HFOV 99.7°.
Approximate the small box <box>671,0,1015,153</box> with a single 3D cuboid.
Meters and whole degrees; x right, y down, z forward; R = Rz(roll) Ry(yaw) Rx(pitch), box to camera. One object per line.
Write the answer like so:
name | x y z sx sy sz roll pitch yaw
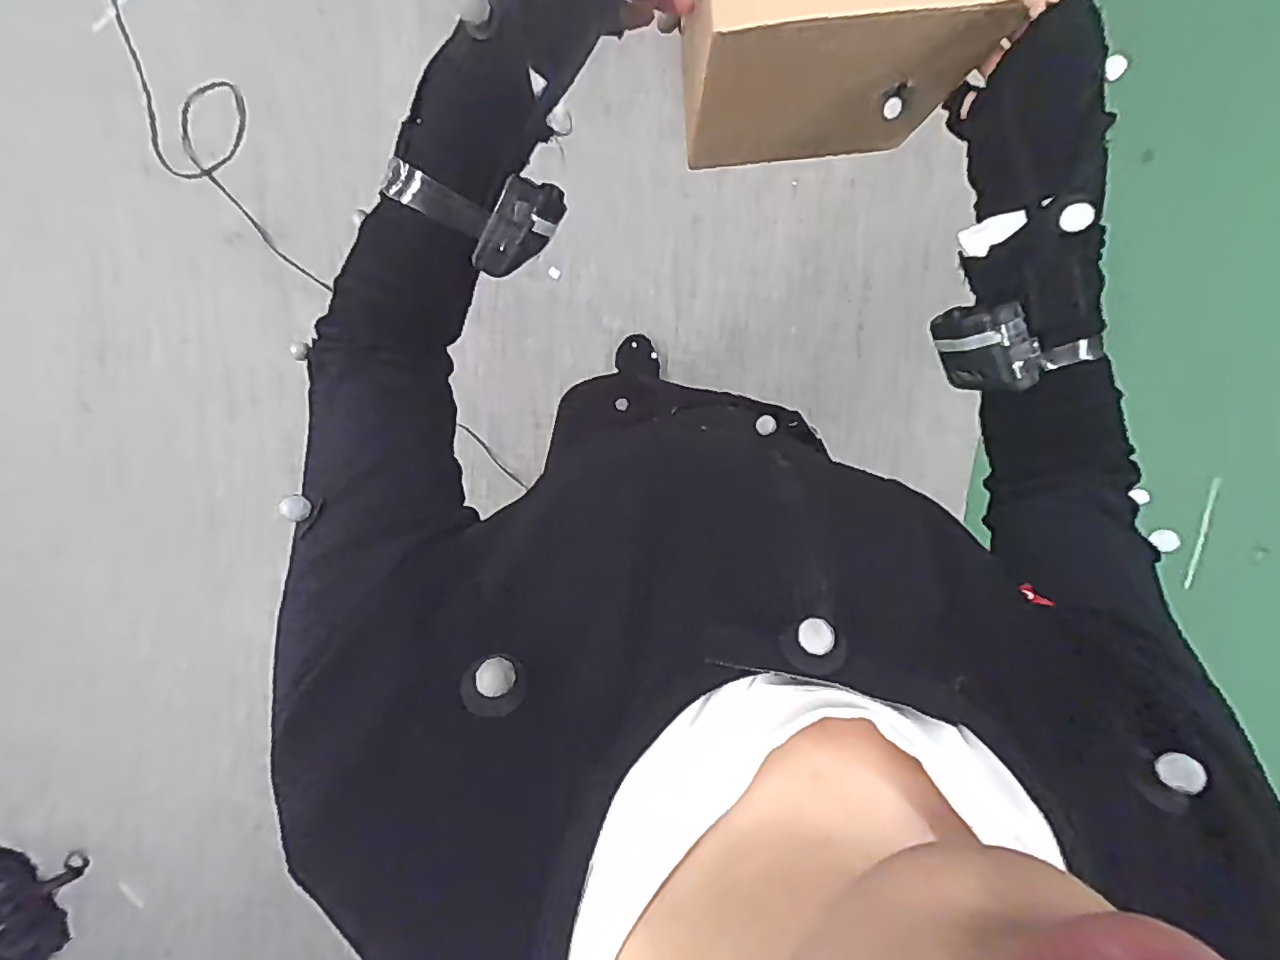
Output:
small box | 0.113 -0.343 0.350 0.179 0.176 0.168 -6 97 2
